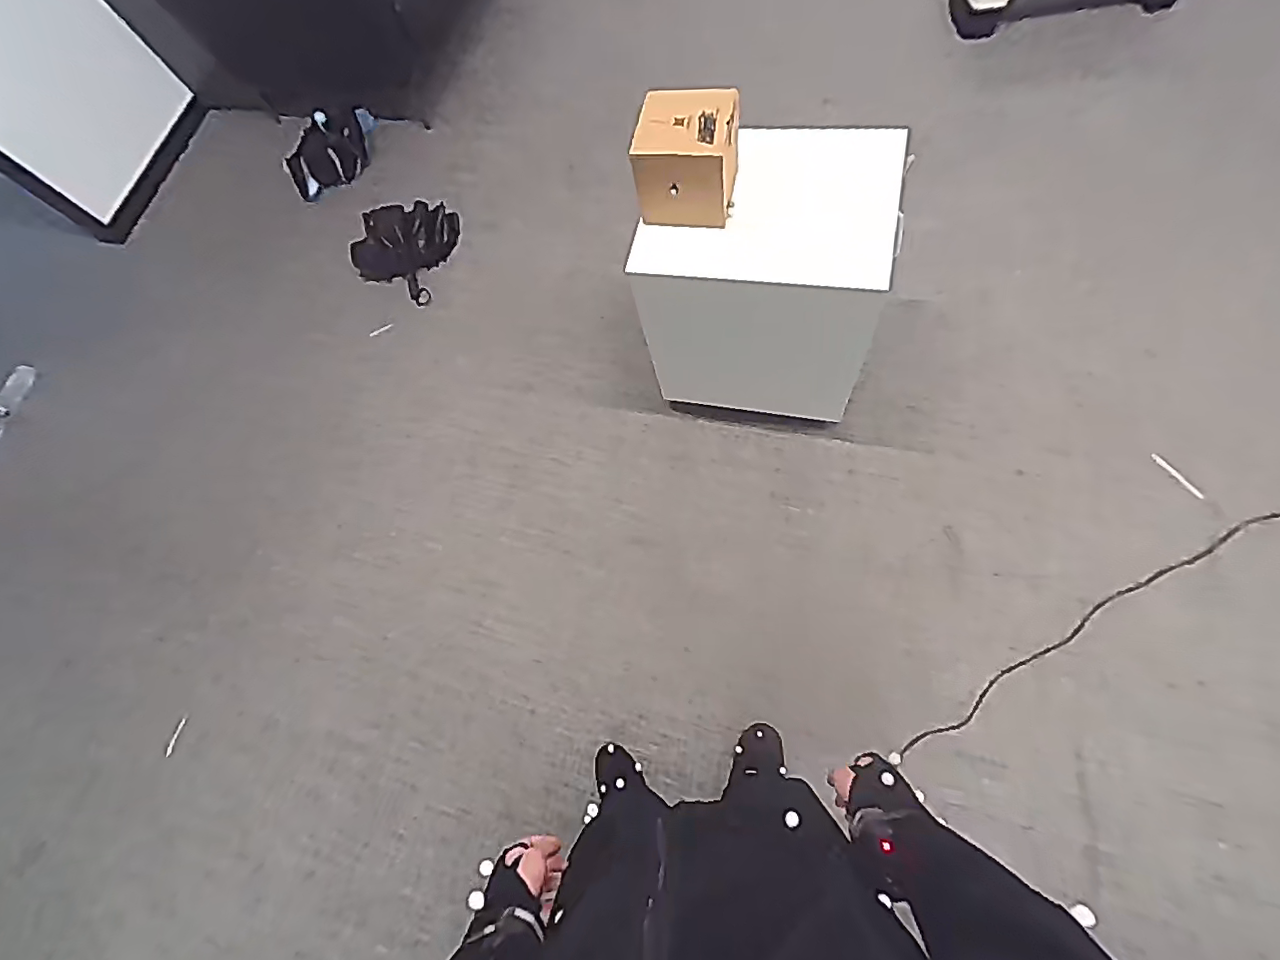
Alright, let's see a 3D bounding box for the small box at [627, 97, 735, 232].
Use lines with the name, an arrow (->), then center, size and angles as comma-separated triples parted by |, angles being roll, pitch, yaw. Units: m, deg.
small box -> 0.090, -0.615, 1.068 | 0.179, 0.176, 0.168 | 9, 72, 14
